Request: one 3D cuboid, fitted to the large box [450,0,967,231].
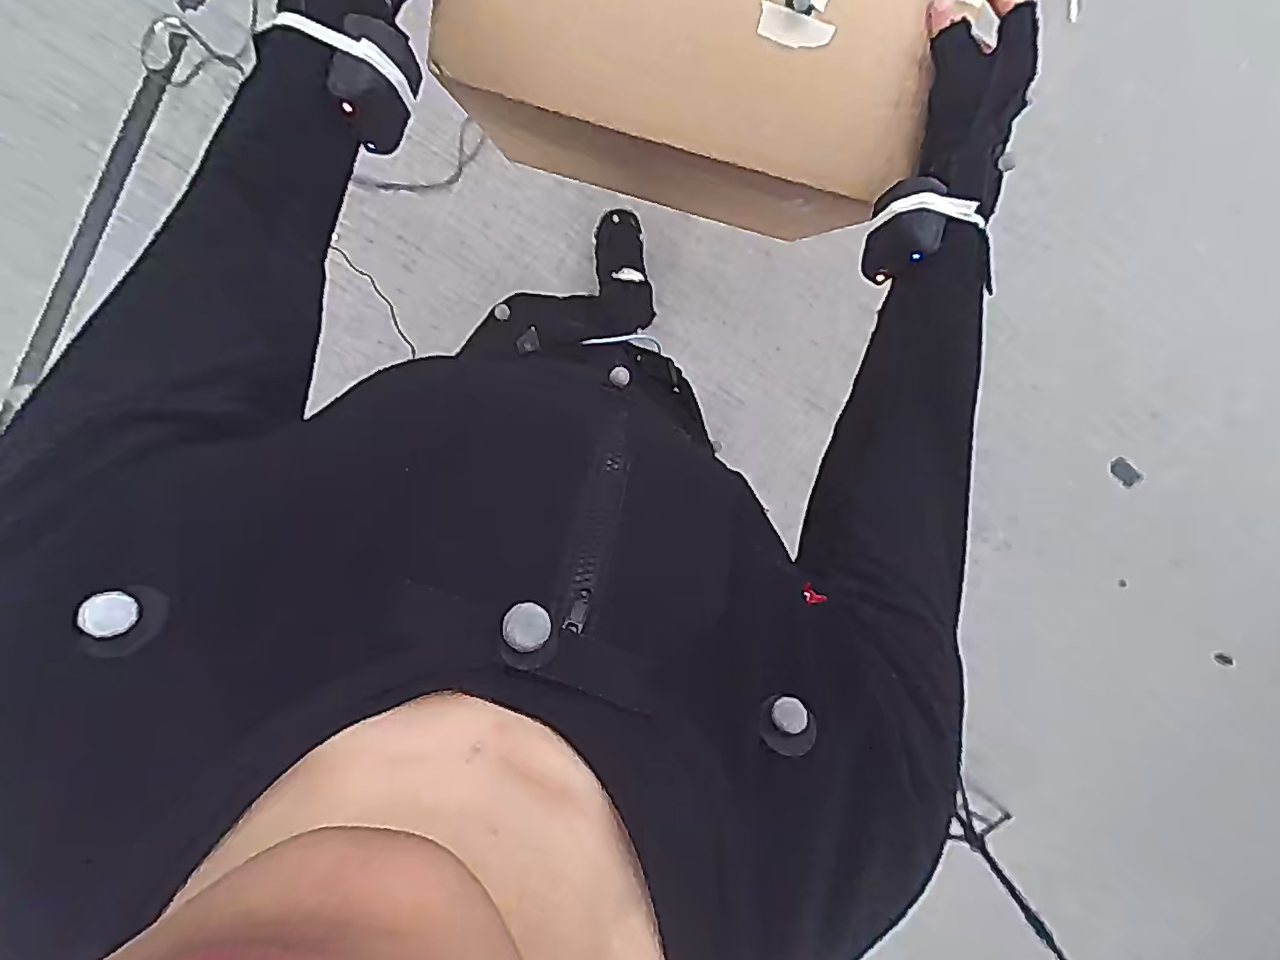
[{"bbox_3d":[0.062,-0.476,0.550,0.408,0.320,0.320,12,110,-7],"label":"large box"}]
